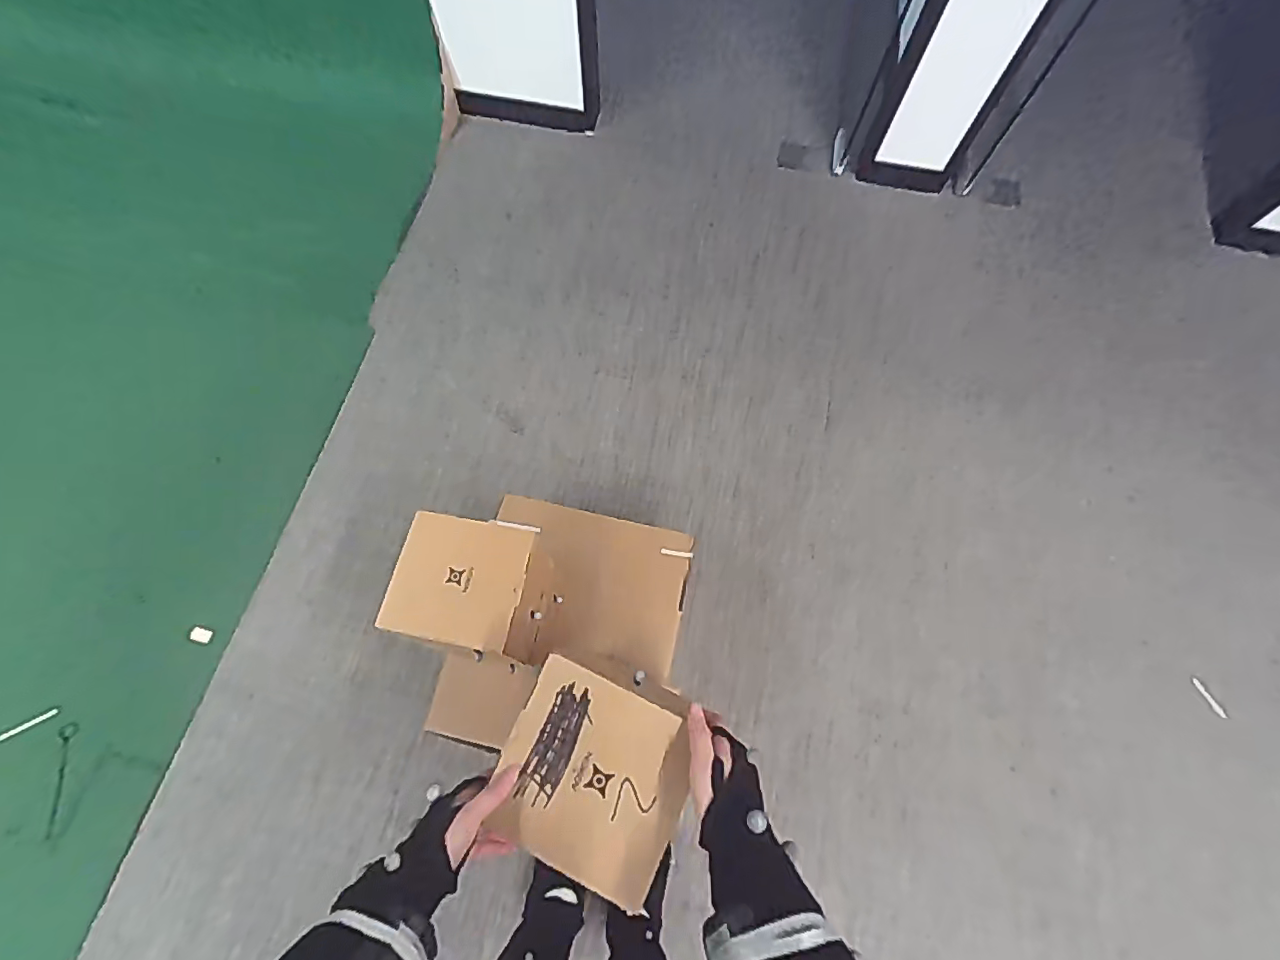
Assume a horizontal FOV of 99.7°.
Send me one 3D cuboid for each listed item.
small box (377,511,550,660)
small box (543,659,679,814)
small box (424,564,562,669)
[{"bbox_3d":[-0.244,0.163,0.797,0.179,0.176,0.168,11,67,2],"label":"small box"},{"bbox_3d":[-0.045,0.407,0.877,0.168,0.176,0.179,16,68,4],"label":"small box"},{"bbox_3d":[-0.242,0.230,0.946,0.179,0.176,0.168,10,66,3],"label":"small box"}]
